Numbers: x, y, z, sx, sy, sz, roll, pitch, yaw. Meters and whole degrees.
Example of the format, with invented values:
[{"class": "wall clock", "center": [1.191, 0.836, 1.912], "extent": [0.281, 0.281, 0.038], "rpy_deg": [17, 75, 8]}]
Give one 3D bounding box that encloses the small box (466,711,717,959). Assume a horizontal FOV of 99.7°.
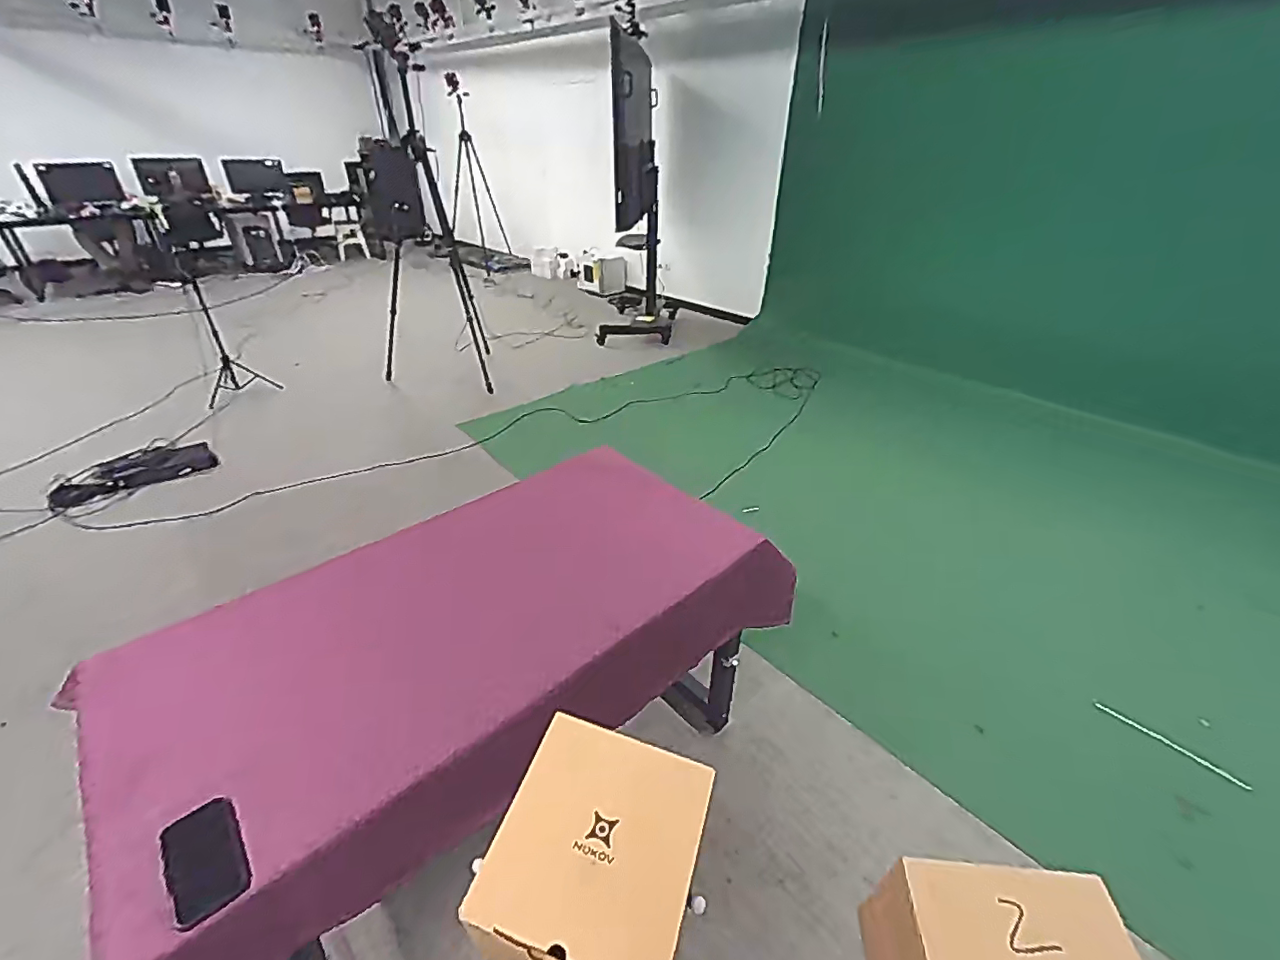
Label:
[{"class": "small box", "center": [-0.037, 0.361, 0.507], "extent": [0.168, 0.176, 0.179], "rpy_deg": [15, 41, 13]}]
